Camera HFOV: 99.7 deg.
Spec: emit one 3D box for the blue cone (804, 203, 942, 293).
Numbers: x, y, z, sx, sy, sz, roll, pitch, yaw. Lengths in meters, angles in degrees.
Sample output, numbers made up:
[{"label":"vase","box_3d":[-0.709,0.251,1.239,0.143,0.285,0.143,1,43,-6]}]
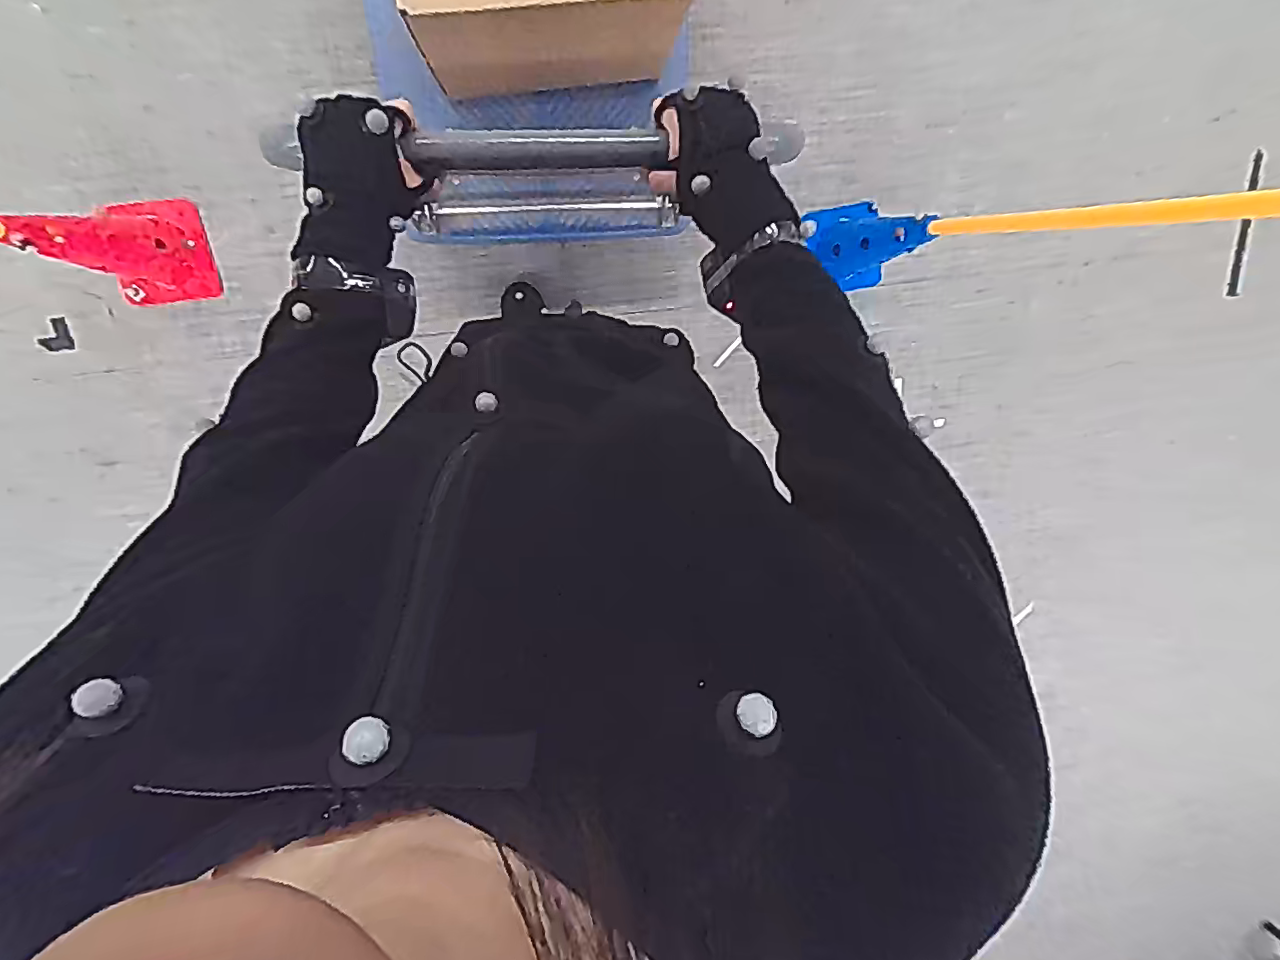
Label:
[{"label":"blue cone","box_3d":[0.527,-0.530,1.188,0.193,0.380,0.192,-11,107,-5]}]
